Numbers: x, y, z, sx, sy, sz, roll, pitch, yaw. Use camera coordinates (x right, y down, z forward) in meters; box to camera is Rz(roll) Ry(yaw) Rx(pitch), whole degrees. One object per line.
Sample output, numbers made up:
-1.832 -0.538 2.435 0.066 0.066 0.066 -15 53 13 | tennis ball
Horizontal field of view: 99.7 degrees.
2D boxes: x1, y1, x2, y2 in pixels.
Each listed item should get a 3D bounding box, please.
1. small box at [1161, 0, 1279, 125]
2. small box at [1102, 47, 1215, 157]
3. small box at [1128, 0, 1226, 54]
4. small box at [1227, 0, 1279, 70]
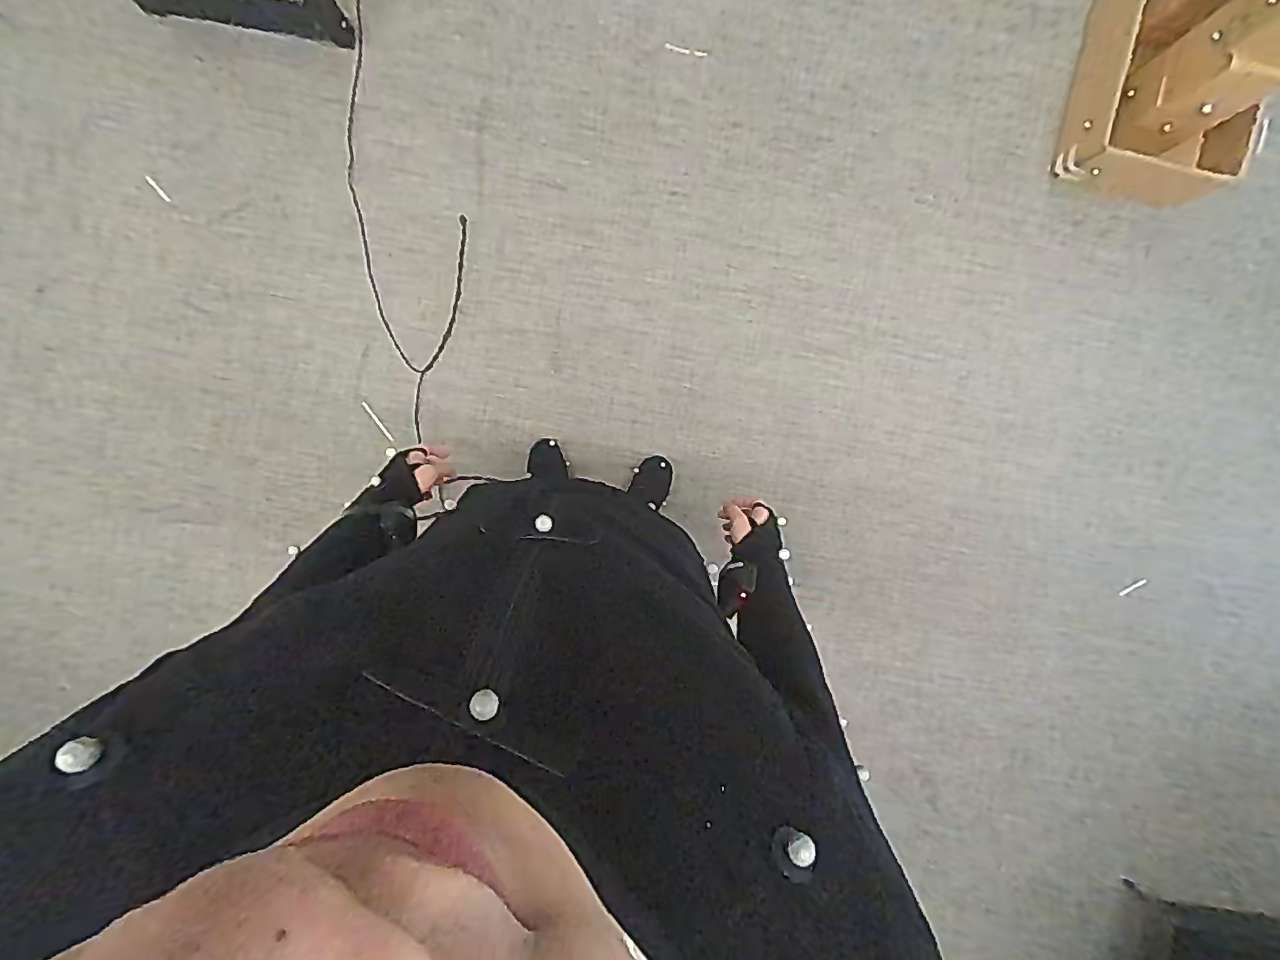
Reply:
1.435 -1.015 1.316 0.168 0.176 0.179 9 93 -2 | small box
1.429 -1.025 1.481 0.179 0.176 0.168 13 93 -3 | small box
1.490 -1.296 1.465 0.179 0.176 0.168 11 94 -2 | small box
1.436 -1.024 1.153 0.179 0.176 0.168 14 93 -3 | small box
